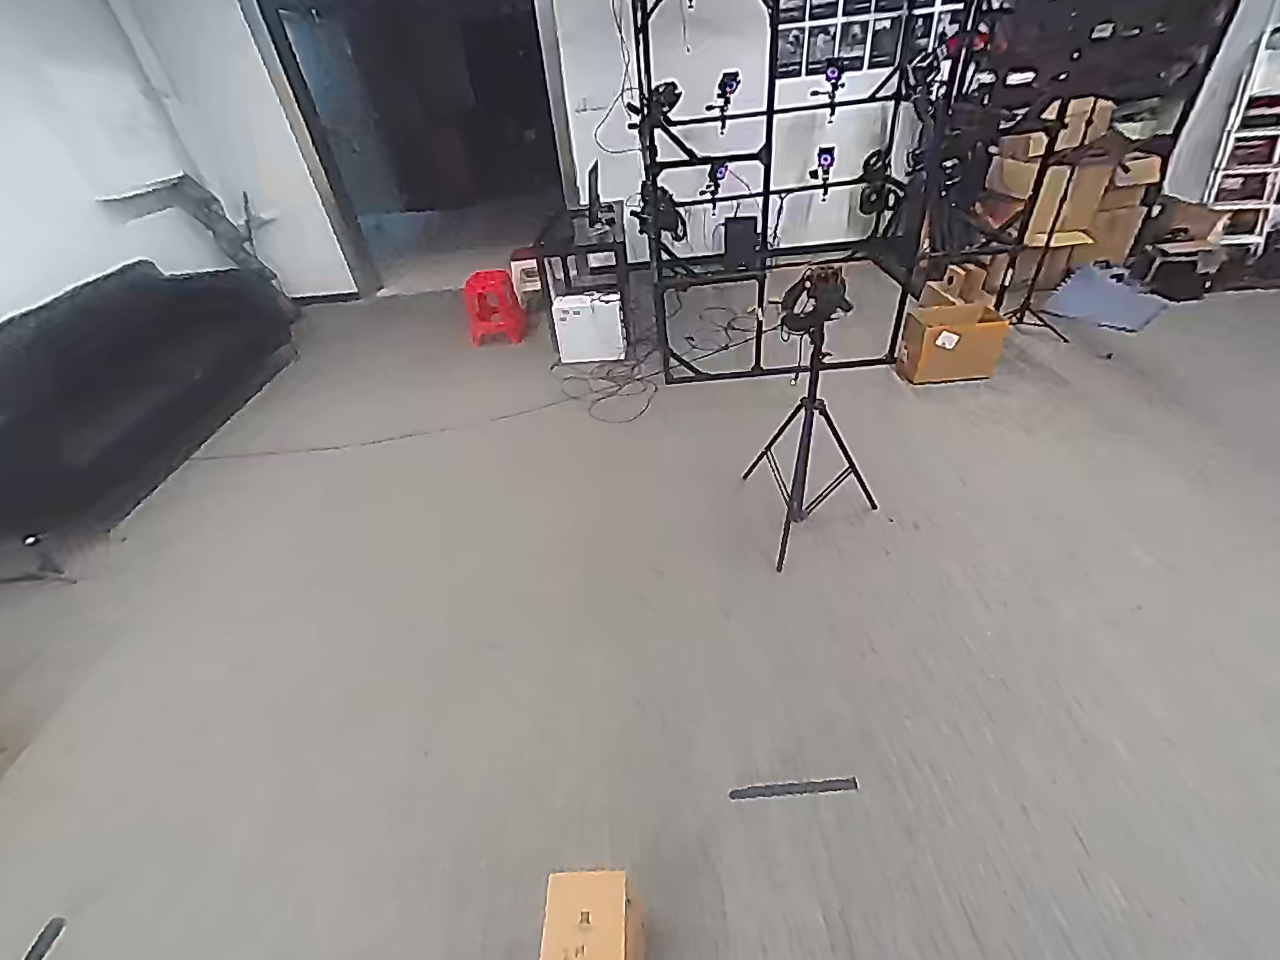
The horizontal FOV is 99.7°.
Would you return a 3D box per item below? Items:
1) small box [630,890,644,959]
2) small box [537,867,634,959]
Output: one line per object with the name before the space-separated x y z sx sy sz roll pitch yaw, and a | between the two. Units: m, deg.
small box | -0.081 1.058 1.220 0.168 0.176 0.179 -4 37 5
small box | -0.105 0.932 1.117 0.168 0.176 0.179 -5 38 4
